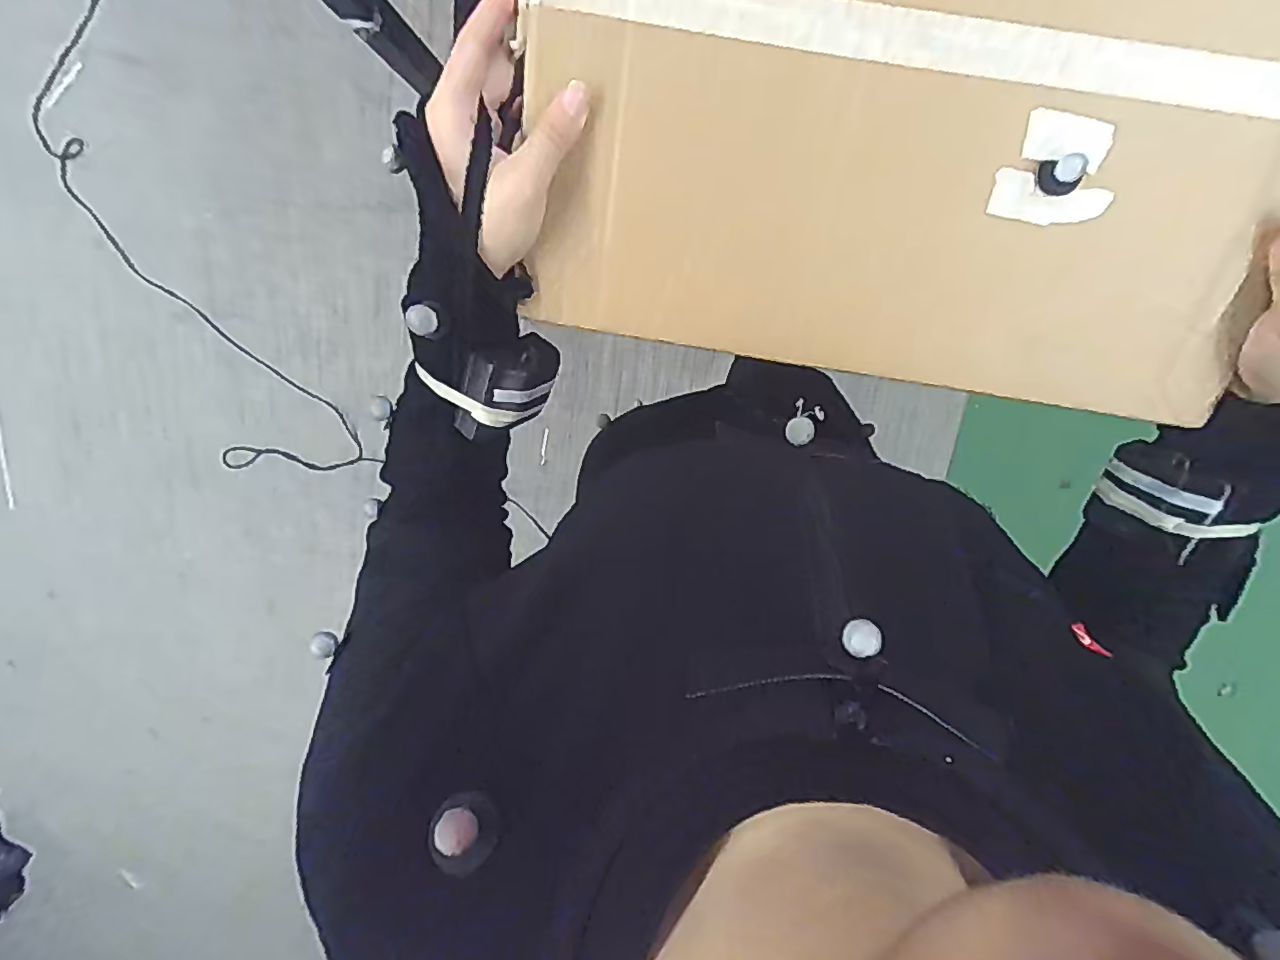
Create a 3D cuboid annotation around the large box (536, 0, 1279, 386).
[{"bbox_3d":[0.157,-0.276,0.402,0.408,0.320,0.320,9,113,-1],"label":"large box"}]
